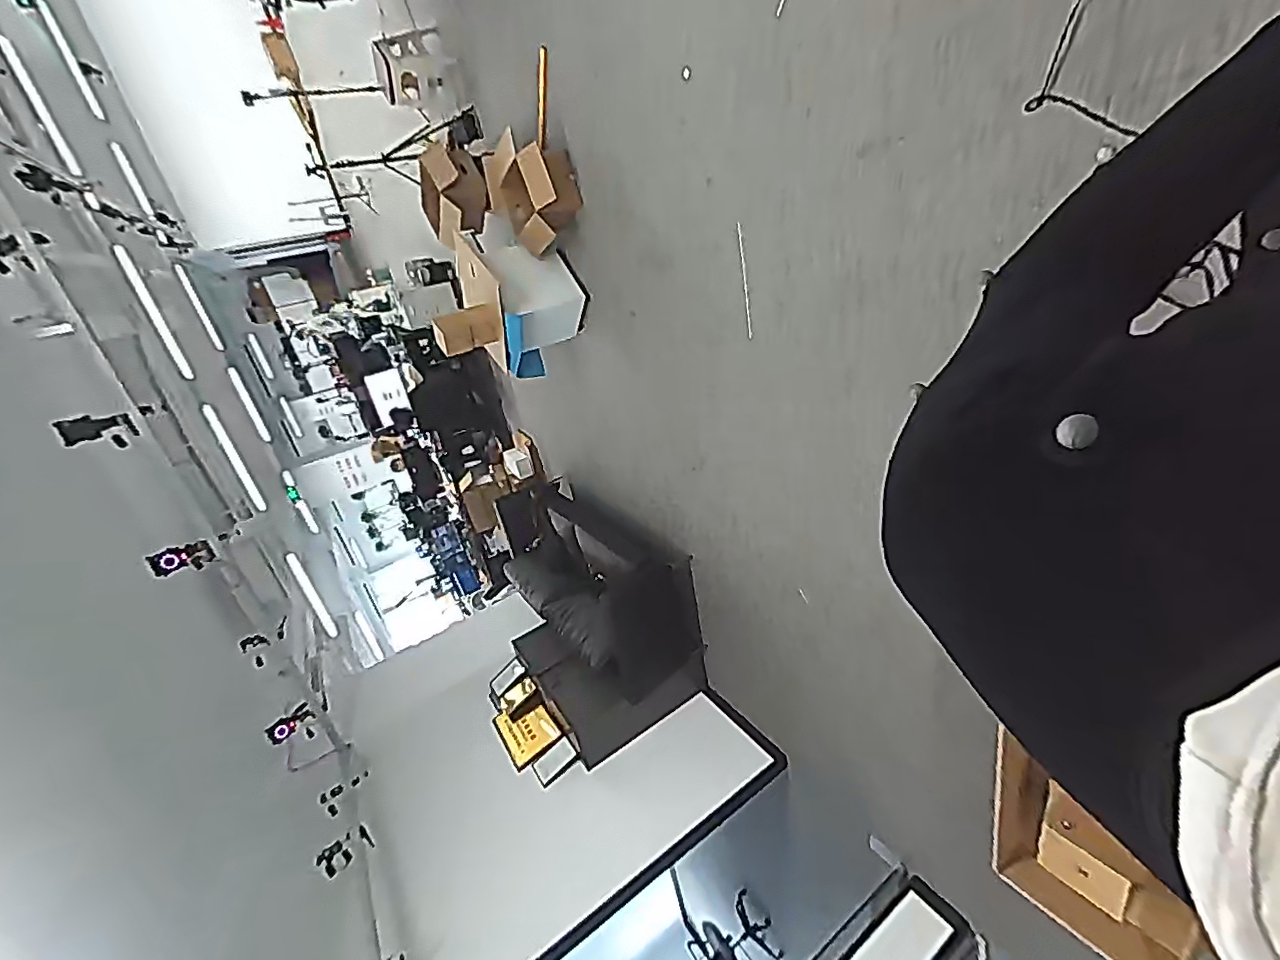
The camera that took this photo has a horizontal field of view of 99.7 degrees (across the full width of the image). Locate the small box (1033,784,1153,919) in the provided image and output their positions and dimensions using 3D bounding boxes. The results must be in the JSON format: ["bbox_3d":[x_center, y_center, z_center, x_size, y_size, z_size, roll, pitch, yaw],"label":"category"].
[{"bbox_3d":[1.105,0.896,1.322,0.179,0.176,0.168,24,134,55],"label":"small box"}]
